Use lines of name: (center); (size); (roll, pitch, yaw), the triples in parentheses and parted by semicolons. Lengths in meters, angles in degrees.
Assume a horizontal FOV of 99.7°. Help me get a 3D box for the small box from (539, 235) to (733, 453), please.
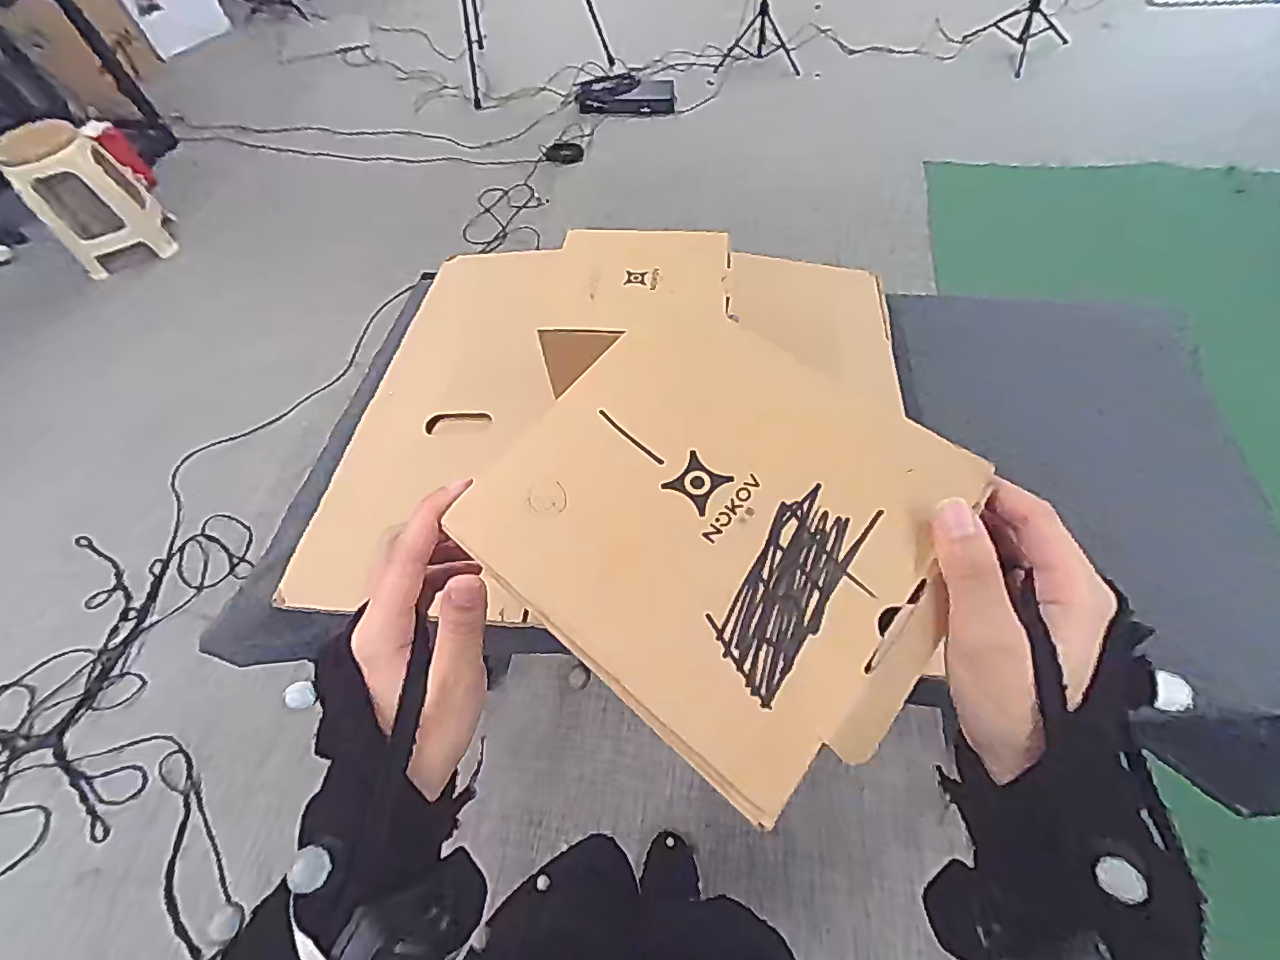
small box: (0.006, -0.144, 0.595); (0.179, 0.176, 0.168); (3, 55, 6)
